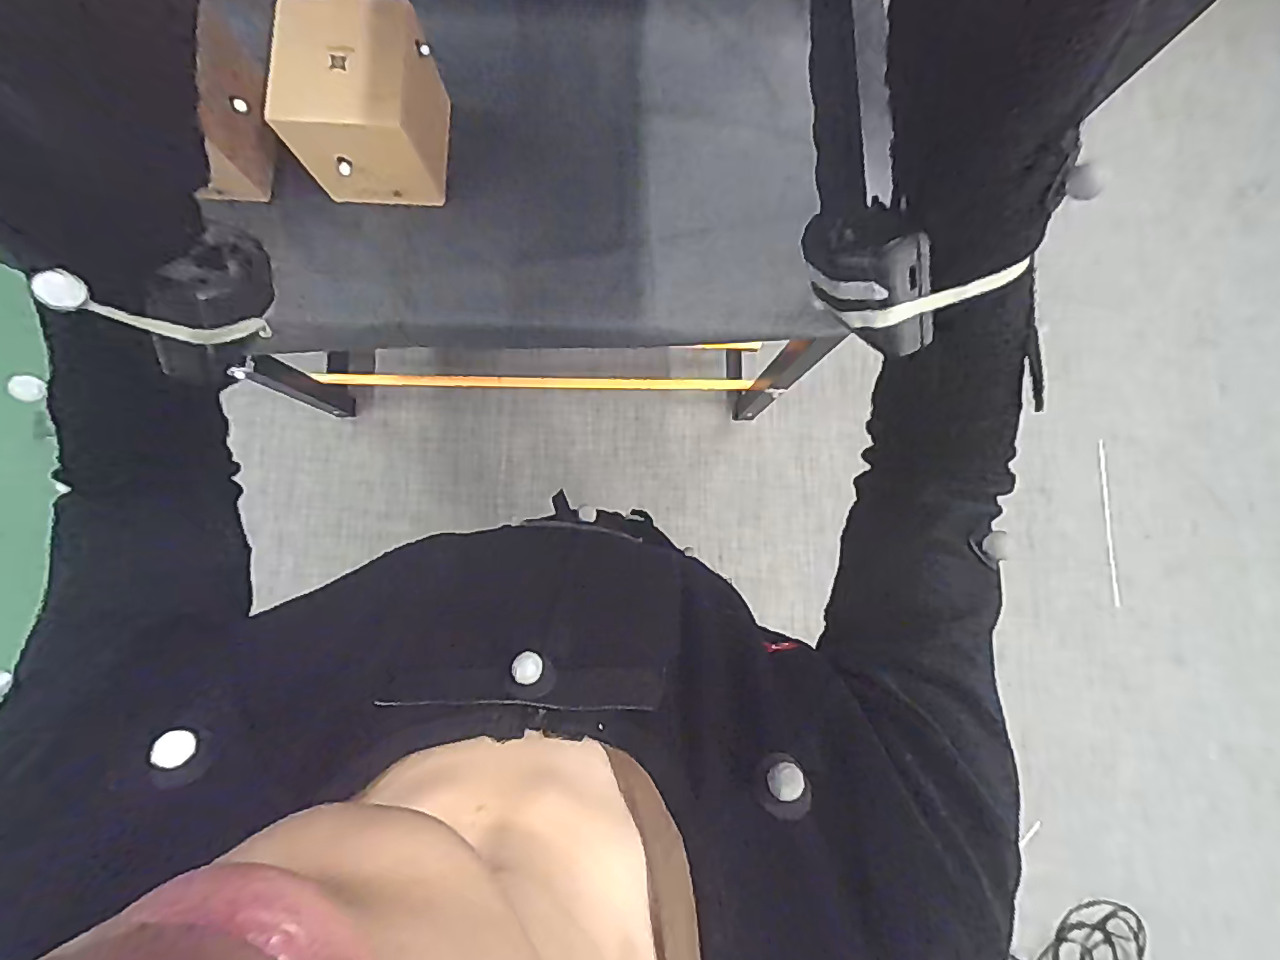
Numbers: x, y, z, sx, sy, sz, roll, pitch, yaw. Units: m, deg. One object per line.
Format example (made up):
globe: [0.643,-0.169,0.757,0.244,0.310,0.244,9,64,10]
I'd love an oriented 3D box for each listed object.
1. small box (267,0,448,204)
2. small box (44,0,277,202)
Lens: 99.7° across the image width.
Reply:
small box: [-0.375,-0.511,0.748,0.168,0.176,0.179,1,84,-3]
small box: [-0.628,-0.513,0.734,0.168,0.176,0.179,1,84,-2]
